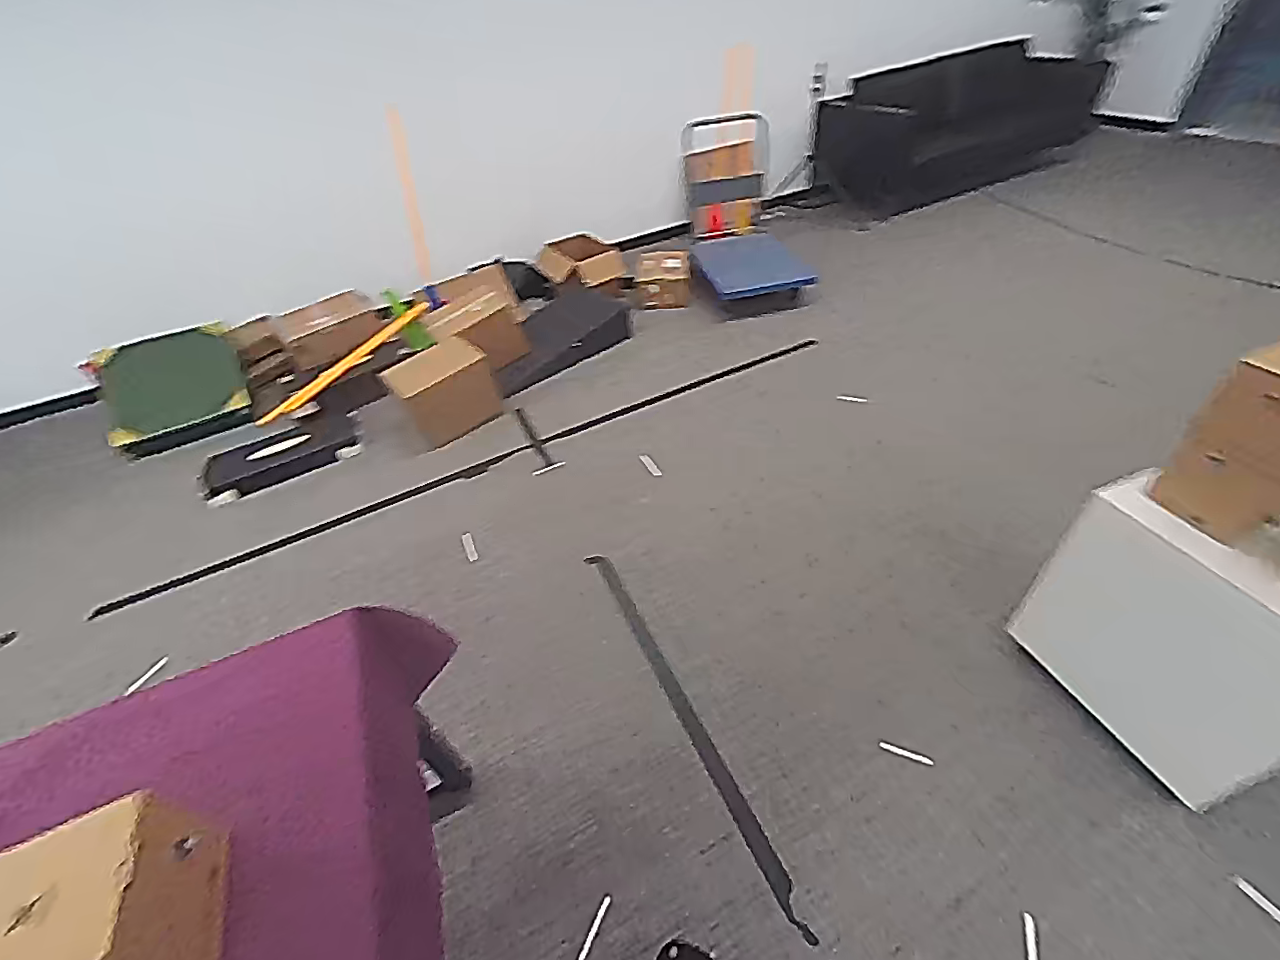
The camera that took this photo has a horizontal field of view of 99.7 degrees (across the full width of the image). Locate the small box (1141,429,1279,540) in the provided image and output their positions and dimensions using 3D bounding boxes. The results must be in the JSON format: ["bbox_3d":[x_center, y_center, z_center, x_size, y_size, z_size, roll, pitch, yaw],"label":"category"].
[{"bbox_3d":[1.176,-0.010,1.080,0.179,0.176,0.168,-17,44,-12],"label":"small box"}]

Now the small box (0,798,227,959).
[{"bbox_3d":[-0.600,0.498,0.596,0.179,0.176,0.168,-23,44,-15],"label":"small box"}]

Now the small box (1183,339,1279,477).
[{"bbox_3d":[1.156,-0.130,0.967,0.168,0.176,0.179,-19,44,-11],"label":"small box"}]
